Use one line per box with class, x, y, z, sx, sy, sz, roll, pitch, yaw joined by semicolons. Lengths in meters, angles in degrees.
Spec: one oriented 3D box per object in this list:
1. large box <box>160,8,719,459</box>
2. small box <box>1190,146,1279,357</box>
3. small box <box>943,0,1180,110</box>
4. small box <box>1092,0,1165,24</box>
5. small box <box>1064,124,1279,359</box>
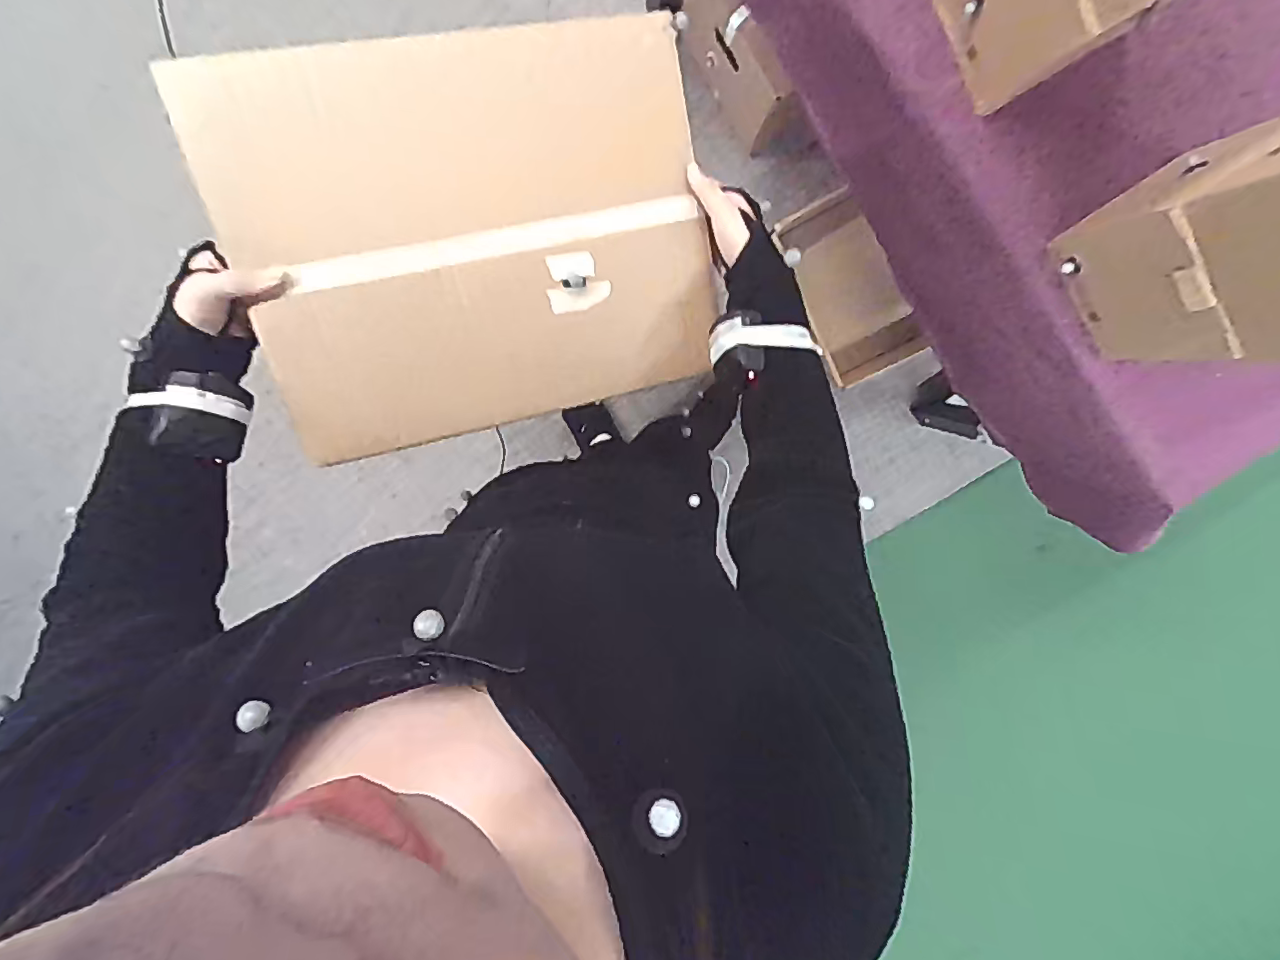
large box;-0.175;-0.247;0.613;0.408;0.320;0.320;-16;108;-12
small box;0.604;-0.202;0.416;0.168;0.176;0.179;-32;100;8
small box;0.432;-0.508;0.517;0.179;0.176;0.168;-28;101;9
small box;0.433;-0.471;0.356;0.179;0.176;0.168;-27;101;9
small box;0.605;-0.243;0.574;0.179;0.176;0.168;-33;100;8
